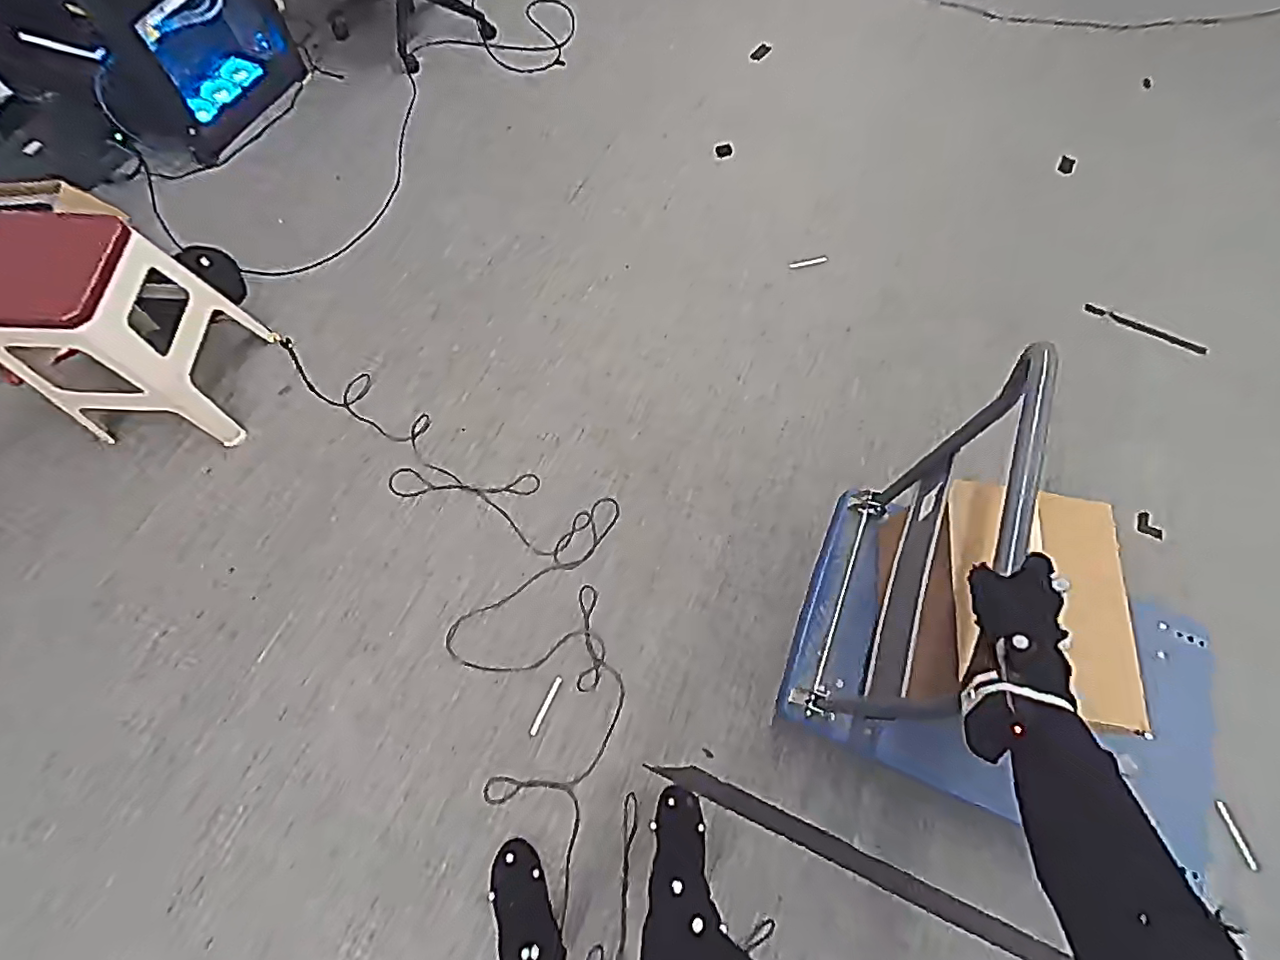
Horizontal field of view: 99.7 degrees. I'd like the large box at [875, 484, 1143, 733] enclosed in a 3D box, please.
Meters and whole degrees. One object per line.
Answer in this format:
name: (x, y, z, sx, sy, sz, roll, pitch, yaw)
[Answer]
large box: (0.695, 0.263, 1.096, 0.320, 0.320, 0.408, 9, 69, 2)
